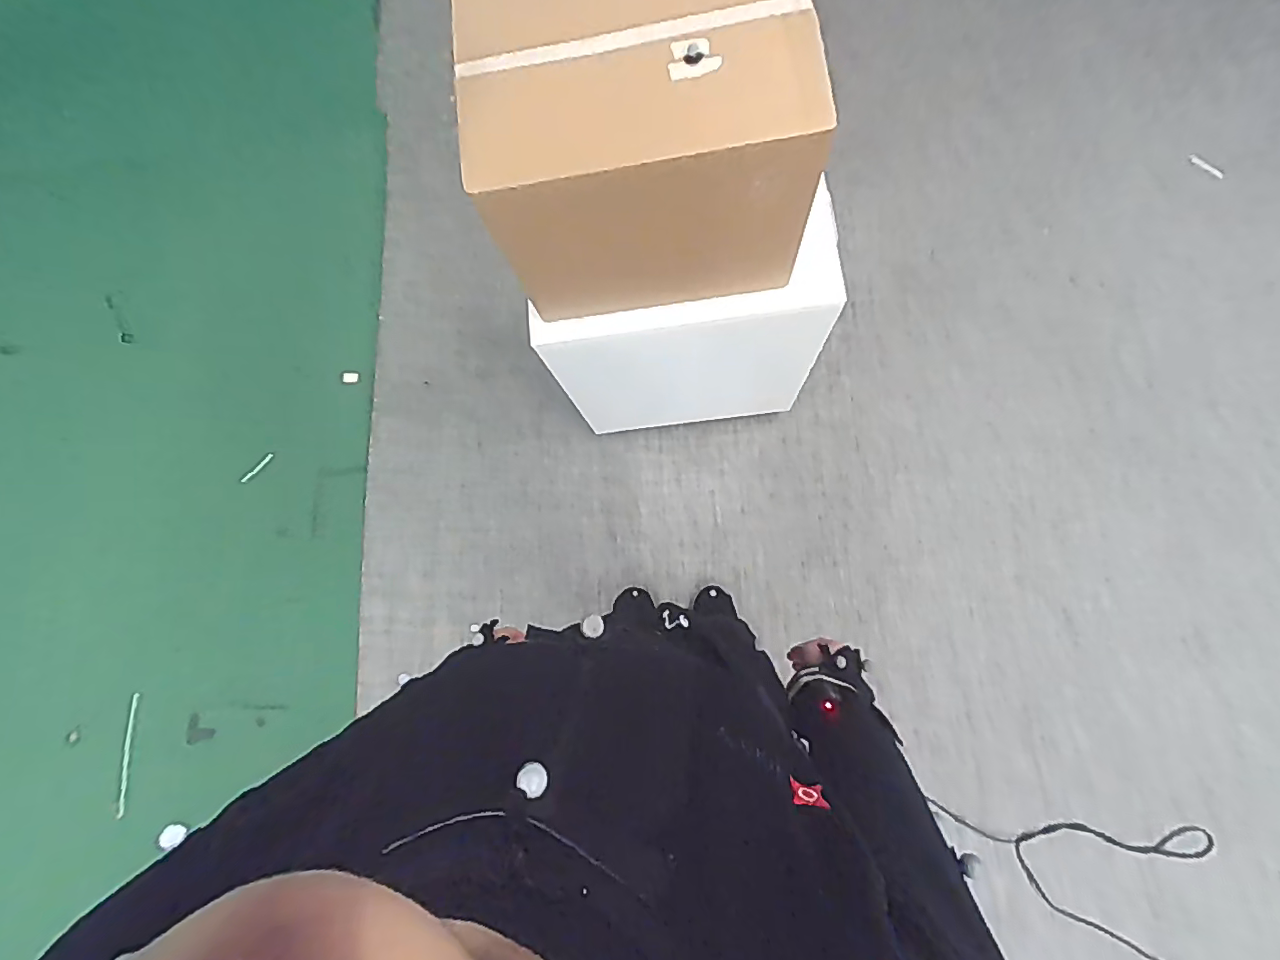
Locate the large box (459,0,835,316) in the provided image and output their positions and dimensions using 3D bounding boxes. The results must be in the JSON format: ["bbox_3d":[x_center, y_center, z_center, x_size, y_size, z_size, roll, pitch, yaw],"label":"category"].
[{"bbox_3d":[0.005,-0.466,0.755,0.408,0.320,0.320,-7,80,3],"label":"large box"}]
